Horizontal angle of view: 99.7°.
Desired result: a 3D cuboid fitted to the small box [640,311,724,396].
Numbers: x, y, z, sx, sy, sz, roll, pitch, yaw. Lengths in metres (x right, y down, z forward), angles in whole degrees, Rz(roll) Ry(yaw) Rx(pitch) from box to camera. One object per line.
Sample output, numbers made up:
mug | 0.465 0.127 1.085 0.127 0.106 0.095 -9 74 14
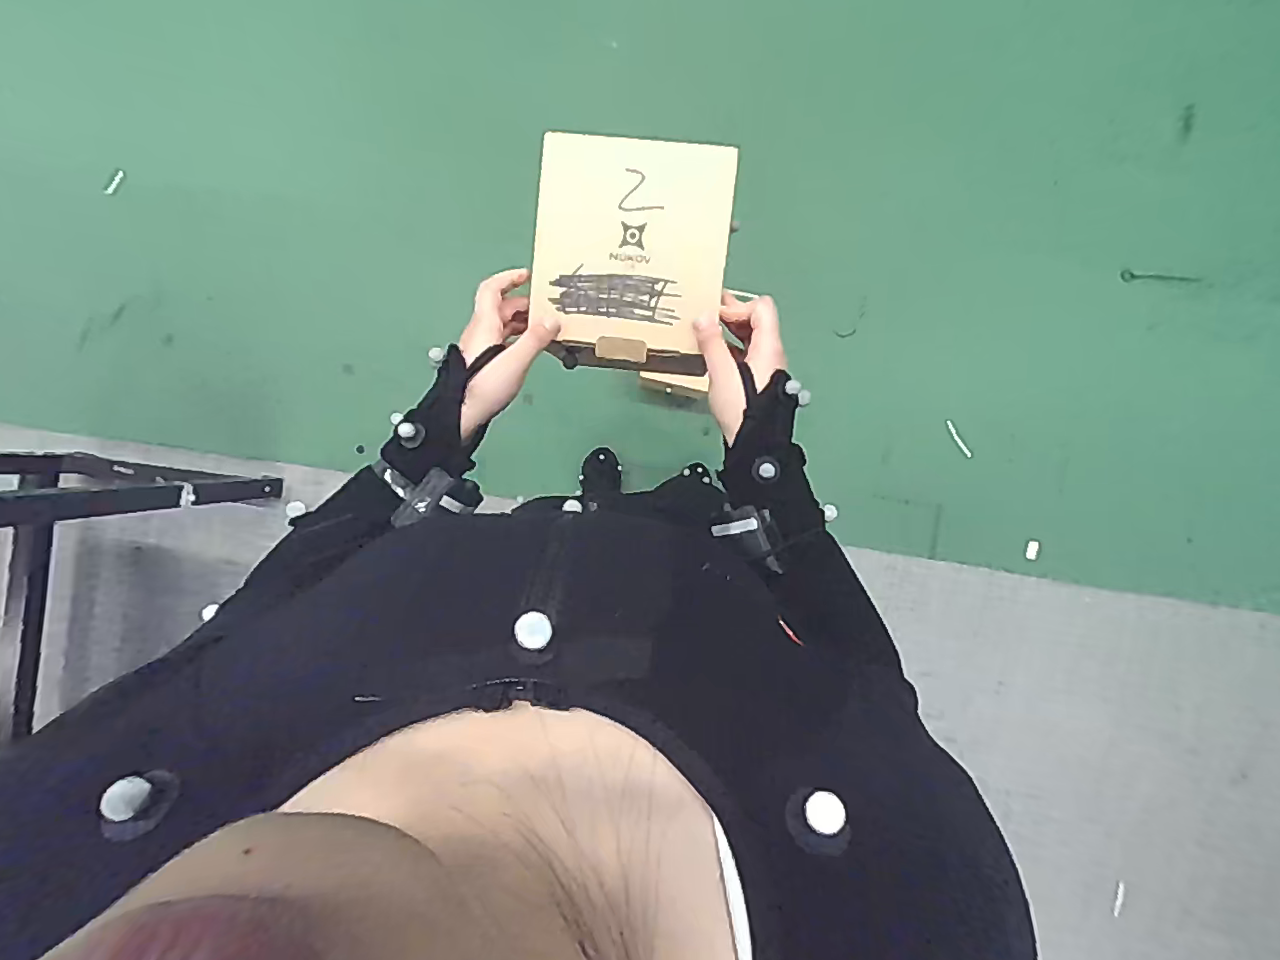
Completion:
small box | 0.103 -0.318 1.391 0.179 0.176 0.168 13 93 0
